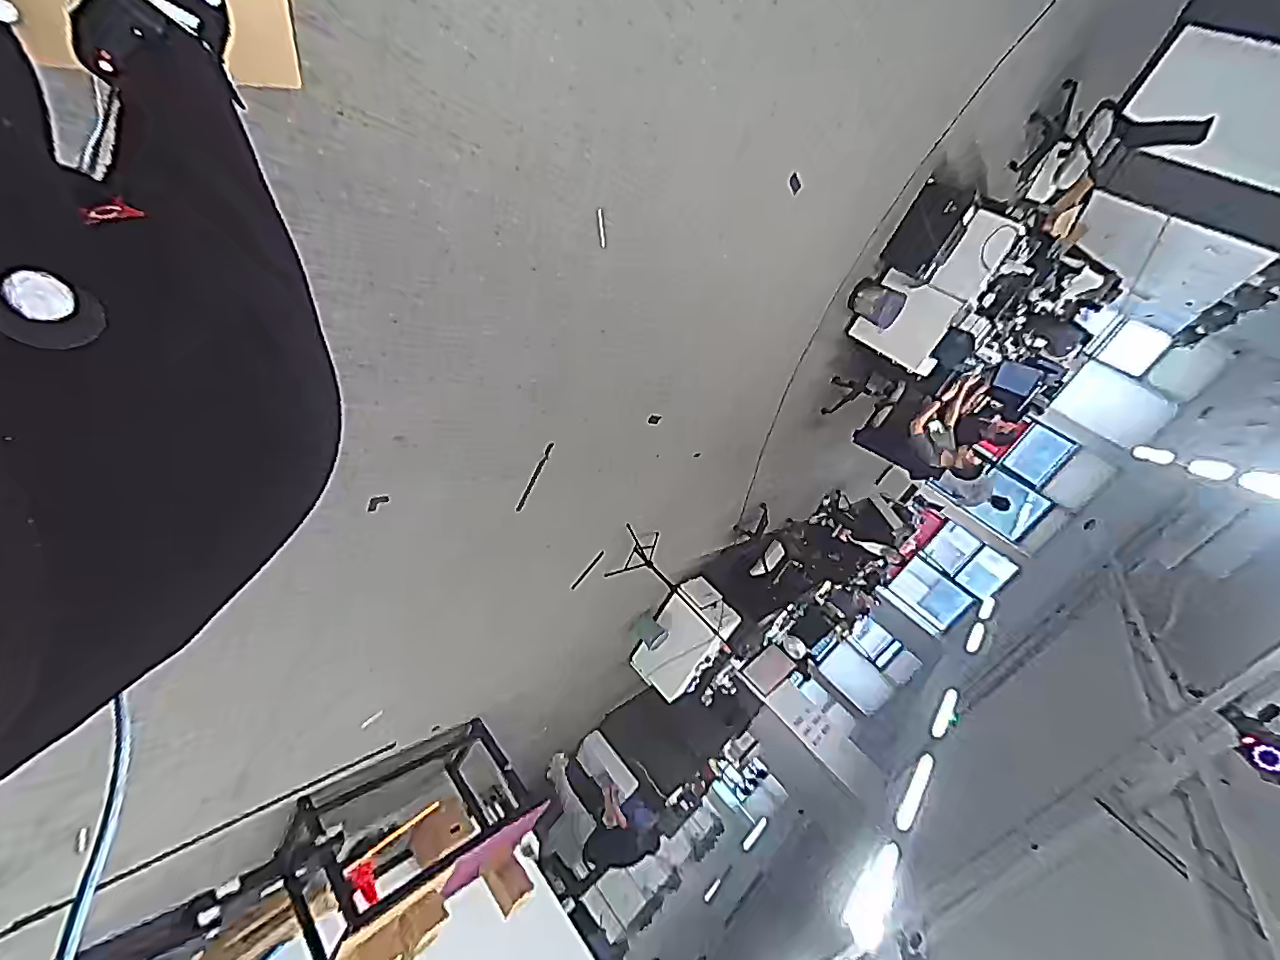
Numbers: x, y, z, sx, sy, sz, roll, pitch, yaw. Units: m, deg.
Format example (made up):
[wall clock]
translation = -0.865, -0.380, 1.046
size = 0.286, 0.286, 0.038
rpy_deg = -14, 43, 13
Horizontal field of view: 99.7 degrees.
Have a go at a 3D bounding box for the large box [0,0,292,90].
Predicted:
[large box]
translation = -0.734, -0.767, 0.739
size = 0.320, 0.408, 0.320
rpy_deg = -22, 141, -36
